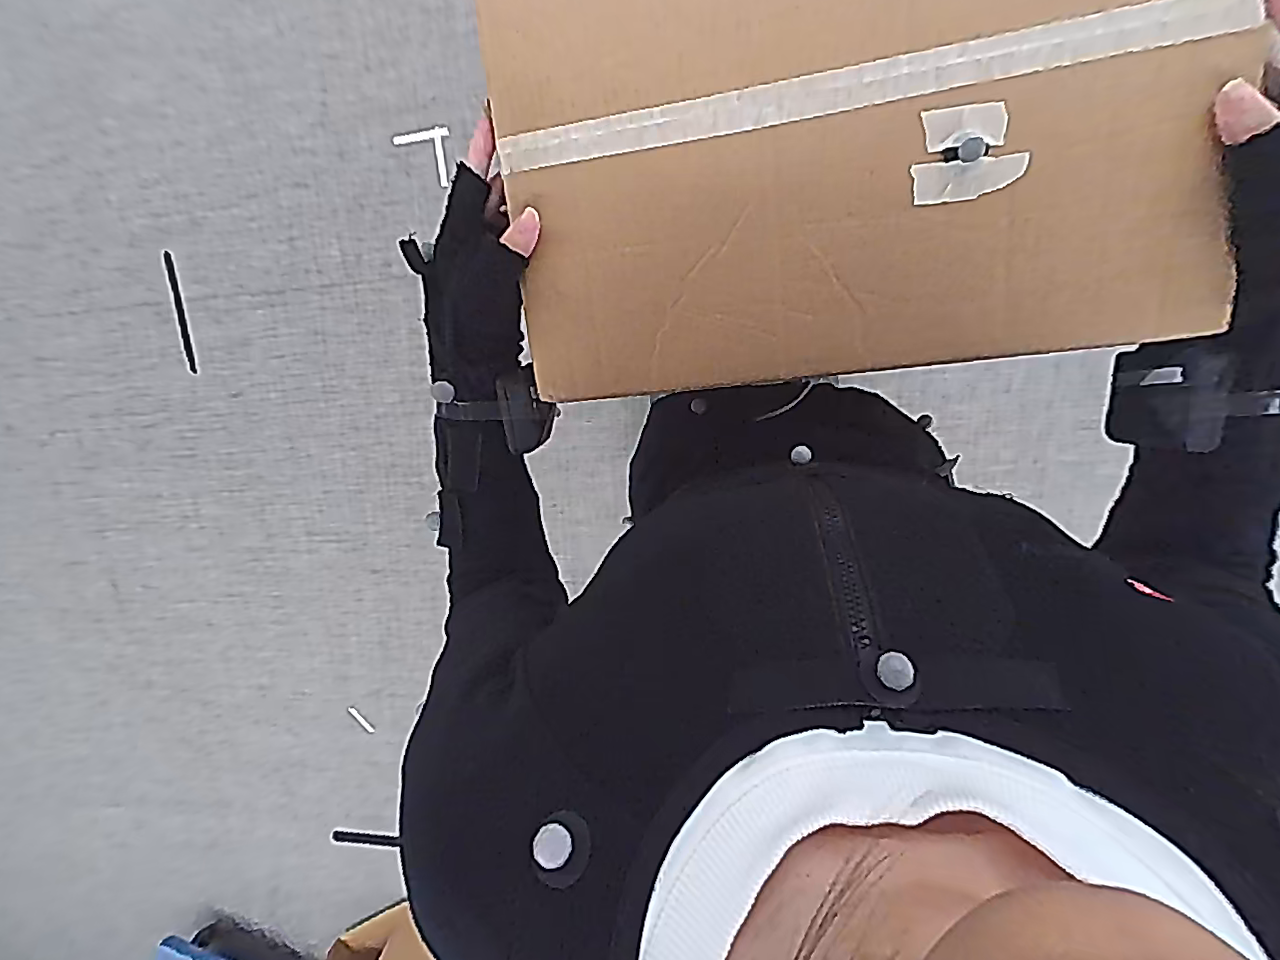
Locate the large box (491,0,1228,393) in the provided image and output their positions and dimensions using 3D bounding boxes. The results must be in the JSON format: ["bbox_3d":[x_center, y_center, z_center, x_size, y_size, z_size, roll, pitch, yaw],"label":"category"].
[{"bbox_3d":[0.134,-0.261,0.462,0.408,0.320,0.320,-5,103,10],"label":"large box"}]
